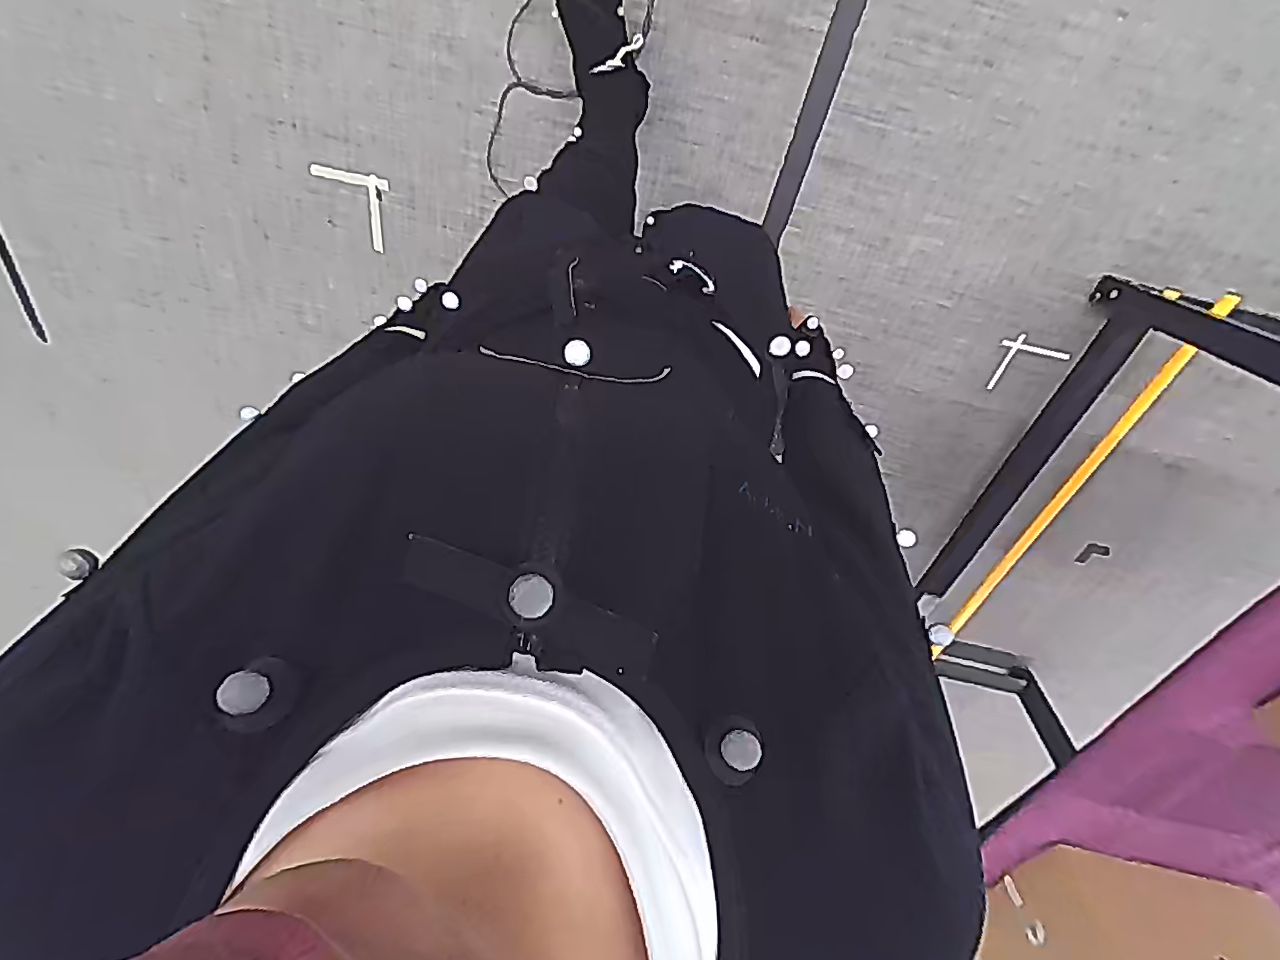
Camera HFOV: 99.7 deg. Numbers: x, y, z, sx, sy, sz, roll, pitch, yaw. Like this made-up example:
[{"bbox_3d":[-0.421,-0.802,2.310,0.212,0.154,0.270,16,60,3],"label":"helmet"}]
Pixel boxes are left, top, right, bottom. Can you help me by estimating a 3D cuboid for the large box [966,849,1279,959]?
[{"bbox_3d":[0.868,0.881,0.907,0.408,0.320,0.320,13,125,-2],"label":"large box"}]
